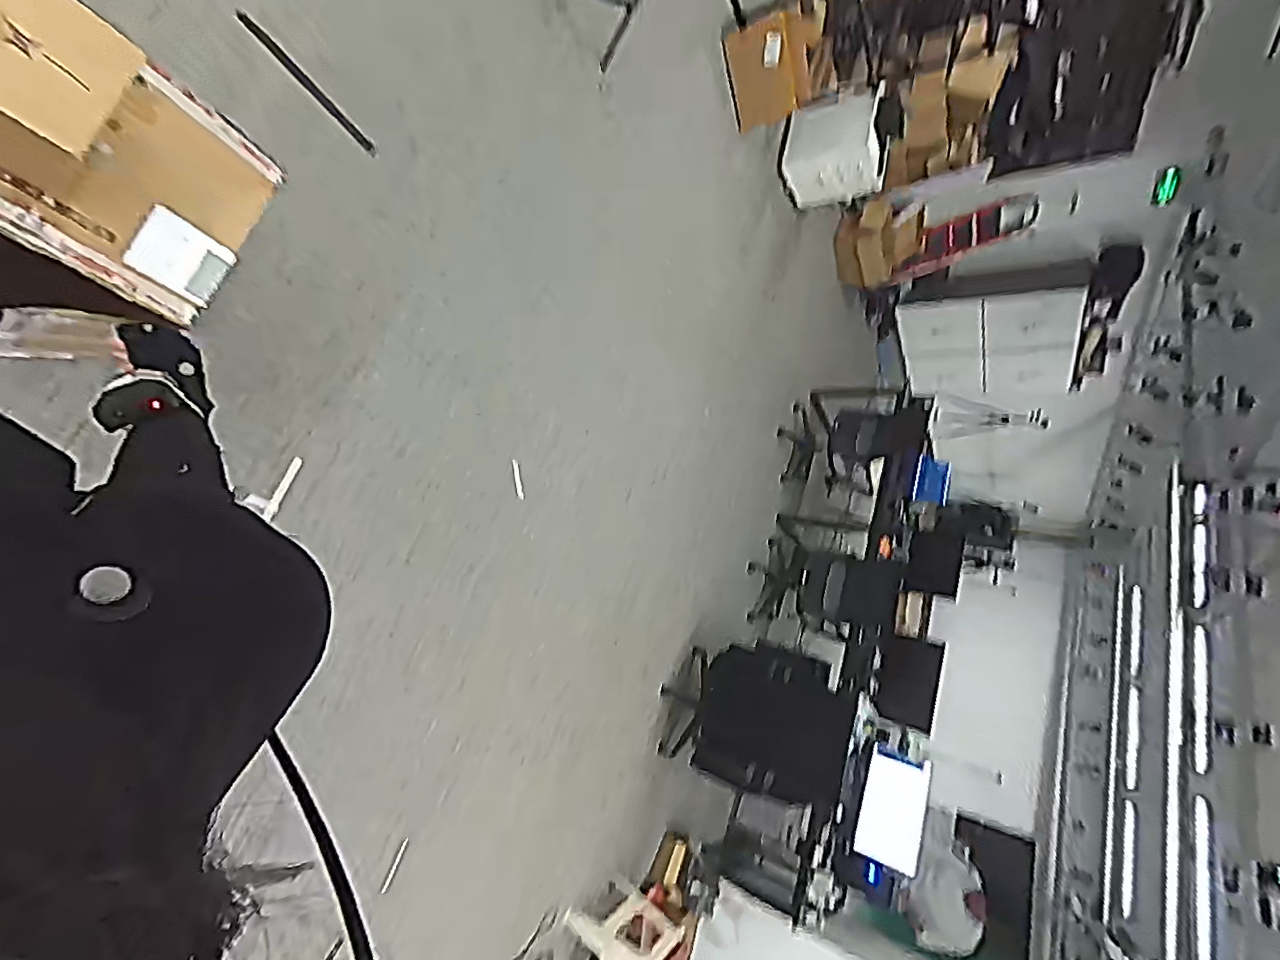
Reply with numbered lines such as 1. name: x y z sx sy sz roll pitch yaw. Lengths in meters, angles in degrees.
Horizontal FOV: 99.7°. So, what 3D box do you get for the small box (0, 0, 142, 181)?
1. small box: -0.732 -0.481 0.611 0.179 0.176 0.168 35 65 -50
